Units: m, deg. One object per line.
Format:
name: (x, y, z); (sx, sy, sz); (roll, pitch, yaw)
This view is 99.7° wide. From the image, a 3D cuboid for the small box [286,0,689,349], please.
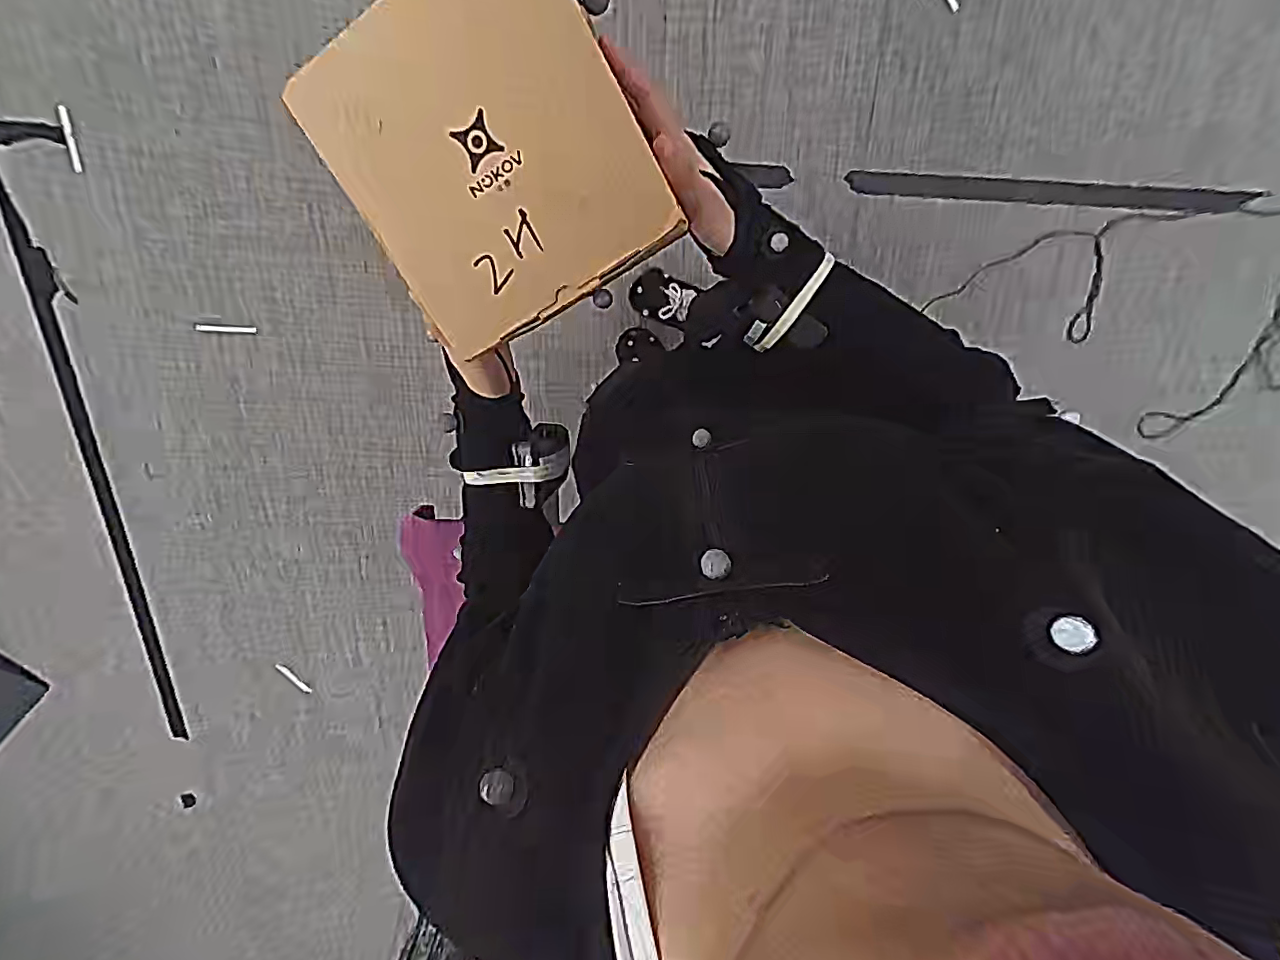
small box: (-0.077, -0.215, 0.373); (0.168, 0.176, 0.179); (-26, 108, 15)
